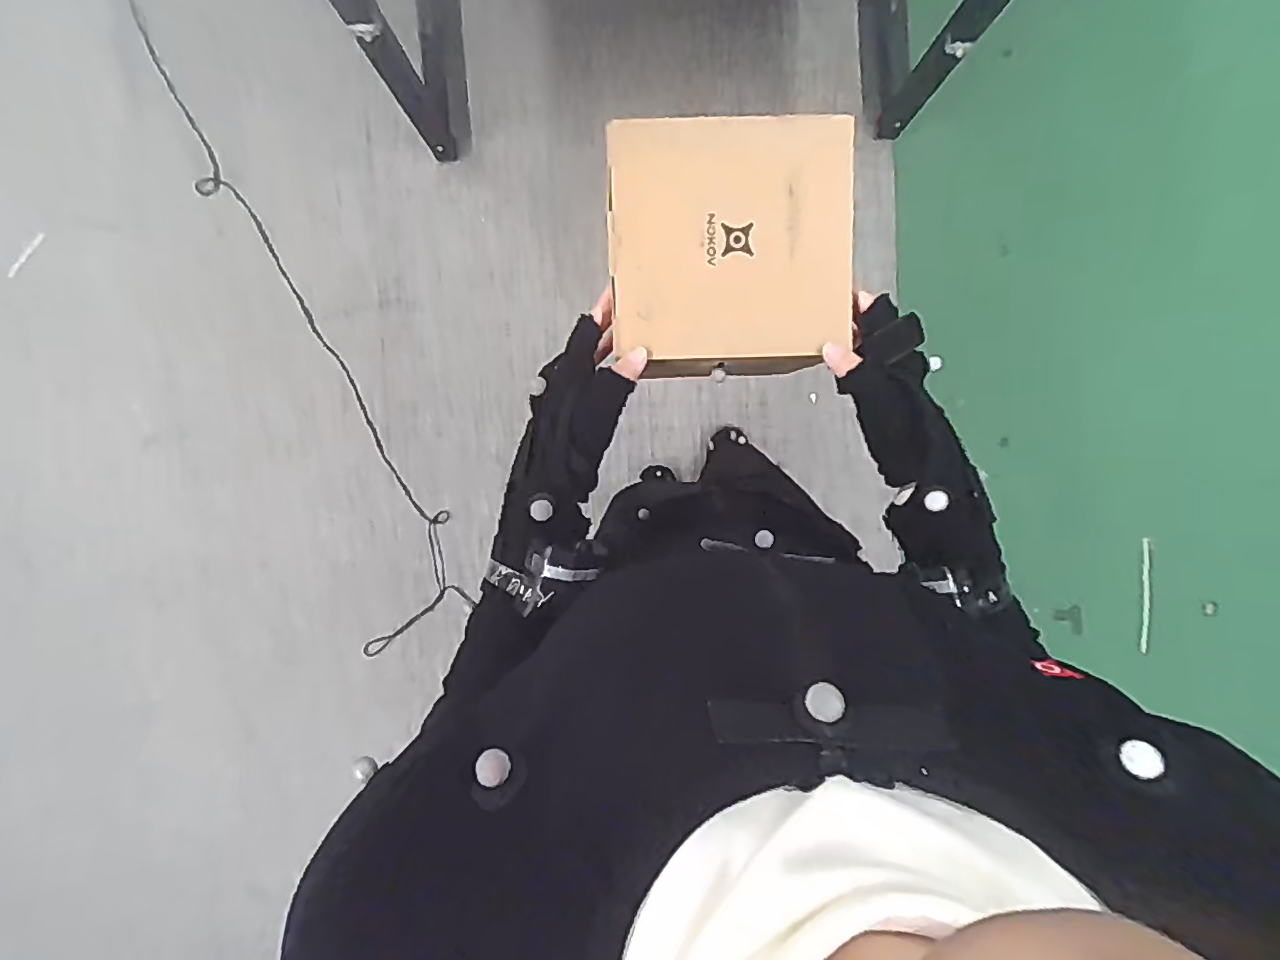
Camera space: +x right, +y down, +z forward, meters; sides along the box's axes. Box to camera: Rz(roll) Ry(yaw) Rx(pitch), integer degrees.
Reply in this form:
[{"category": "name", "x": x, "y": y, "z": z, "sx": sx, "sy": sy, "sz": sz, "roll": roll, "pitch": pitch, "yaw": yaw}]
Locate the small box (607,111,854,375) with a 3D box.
[{"category": "small box", "x": 0.067, "y": -0.183, "z": 0.468, "sx": 0.179, "sy": 0.176, "sz": 0.168, "roll": -3, "pitch": 97, "yaw": -1}]
